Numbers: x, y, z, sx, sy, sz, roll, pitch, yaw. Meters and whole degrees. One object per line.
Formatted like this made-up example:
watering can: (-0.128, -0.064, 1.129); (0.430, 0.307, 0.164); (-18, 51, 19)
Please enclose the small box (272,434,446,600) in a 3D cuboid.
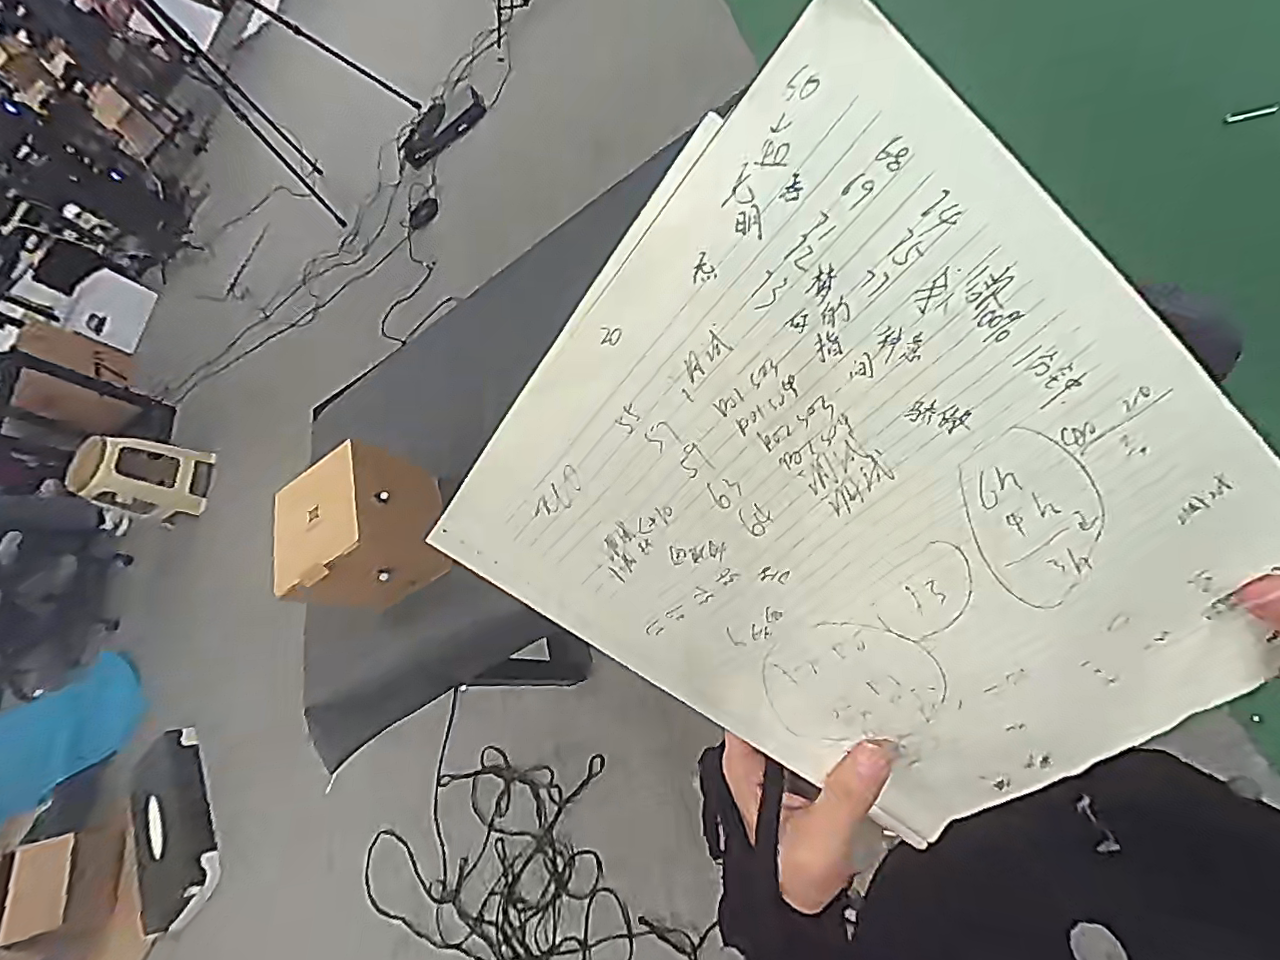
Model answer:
small box: (-0.414, 0.068, 0.811); (0.168, 0.176, 0.179); (-30, 58, 14)
